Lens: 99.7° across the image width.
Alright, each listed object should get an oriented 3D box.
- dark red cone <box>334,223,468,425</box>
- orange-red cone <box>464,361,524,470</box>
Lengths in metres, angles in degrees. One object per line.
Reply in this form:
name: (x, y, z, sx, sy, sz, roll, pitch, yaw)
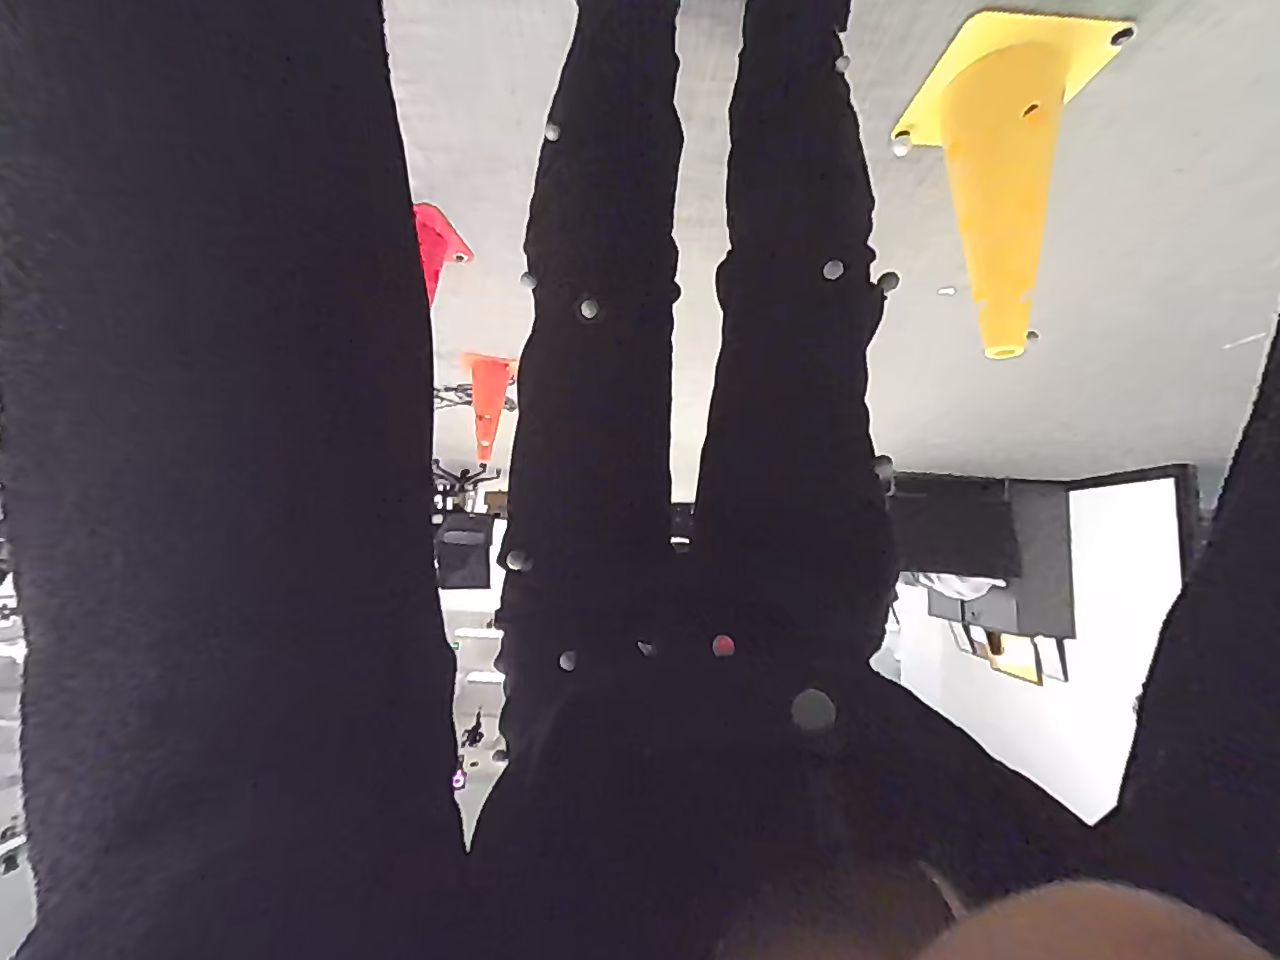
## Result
dark red cone: (-0.490, -0.301, 1.075, 0.202, 0.394, 0.201, 2, 169, 9)
orange-red cone: (-0.537, -0.213, 1.905, 0.199, 0.360, 0.198, 7, 170, -18)
